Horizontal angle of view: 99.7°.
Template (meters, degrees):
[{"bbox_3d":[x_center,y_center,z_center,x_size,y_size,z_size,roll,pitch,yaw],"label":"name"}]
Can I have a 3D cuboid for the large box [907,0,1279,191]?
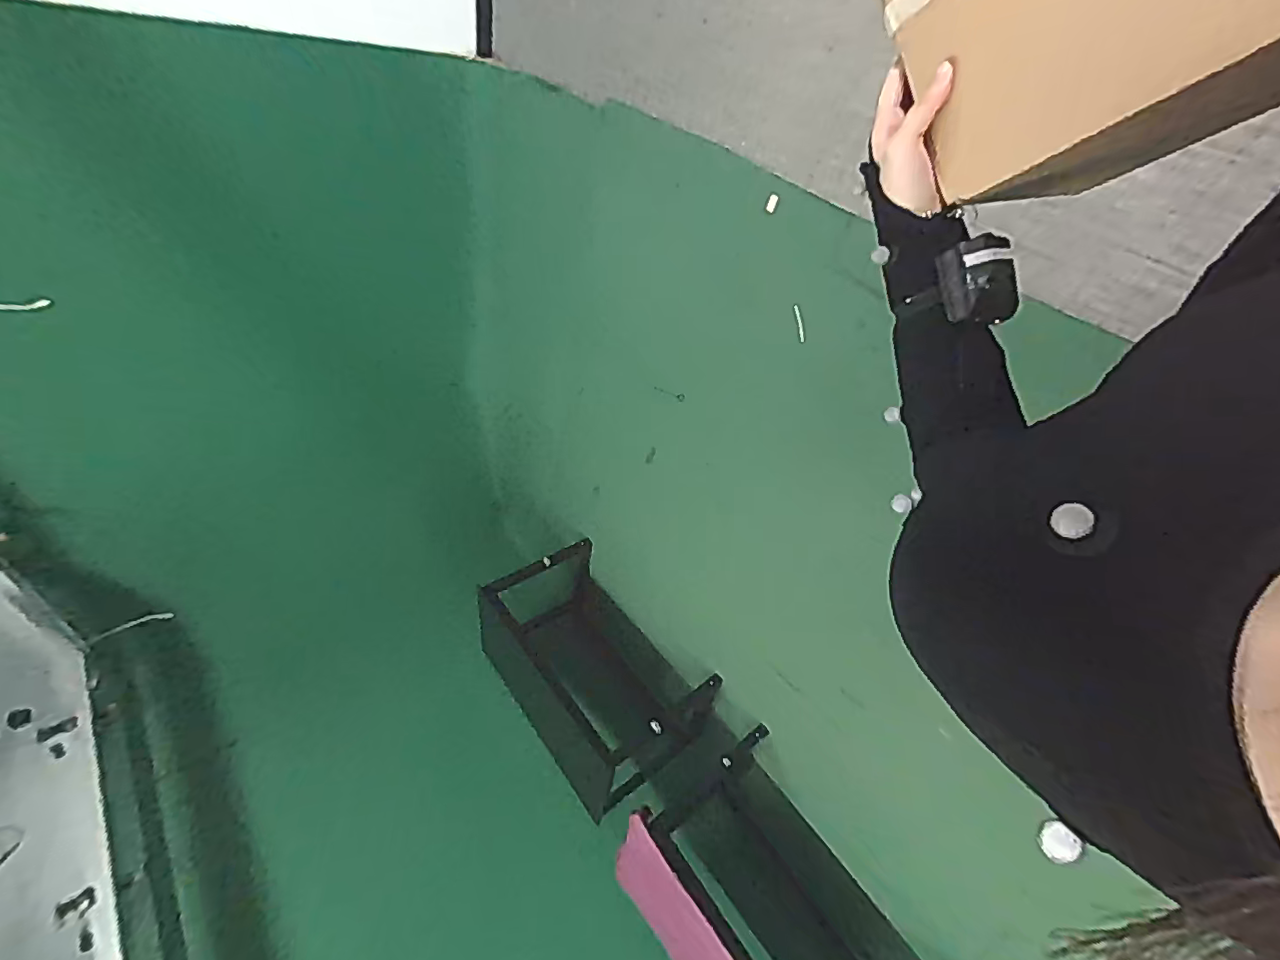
[{"bbox_3d":[0.435,-0.447,0.351,0.408,0.320,0.320,-13,98,55],"label":"large box"}]
